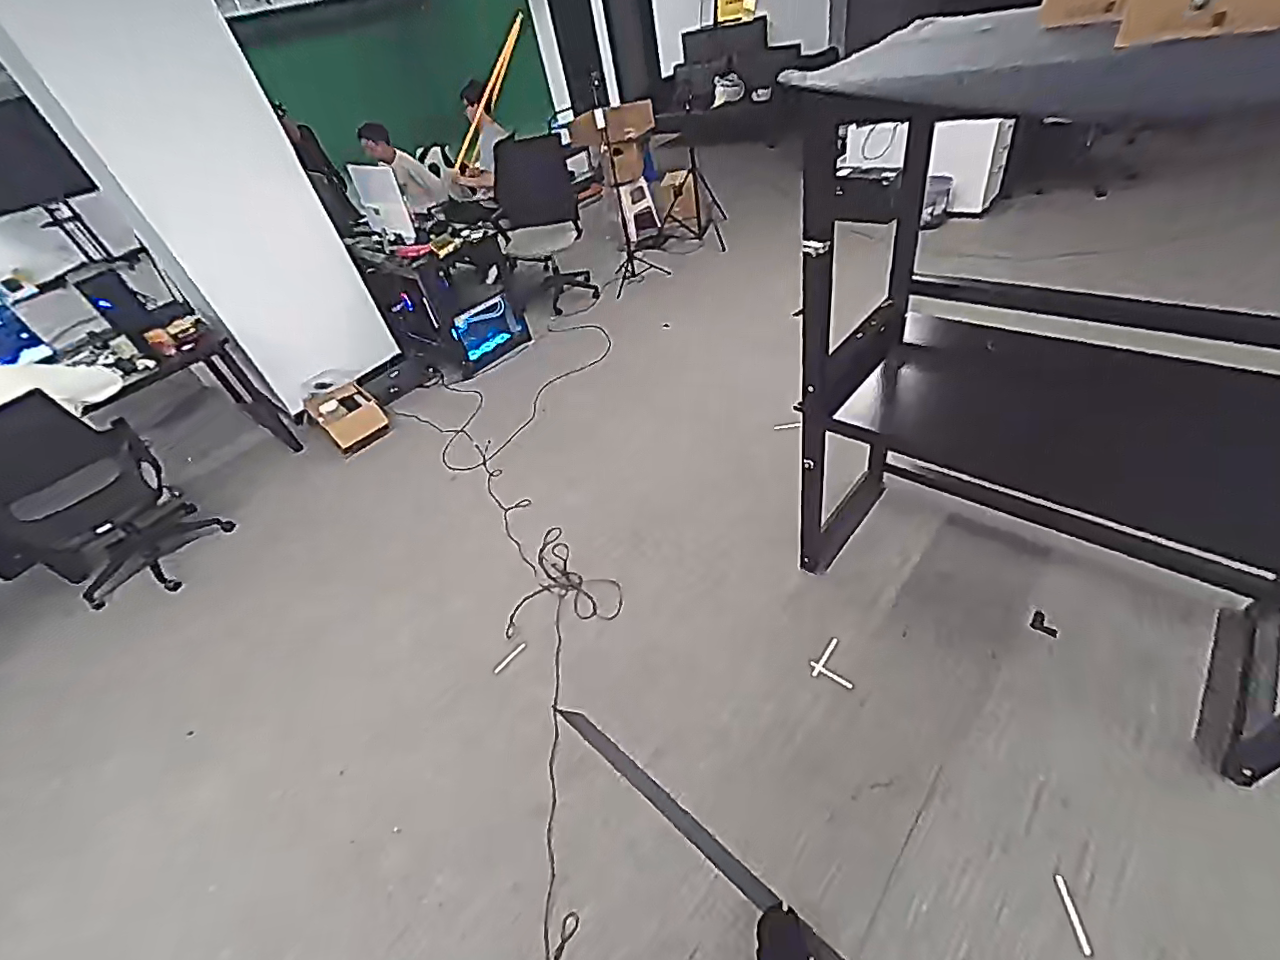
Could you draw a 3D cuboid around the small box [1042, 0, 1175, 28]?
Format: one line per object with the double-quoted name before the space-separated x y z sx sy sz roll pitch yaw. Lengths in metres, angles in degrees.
"small box" 0.823 -0.892 0.915 0.179 0.176 0.168 -37 46 -25
